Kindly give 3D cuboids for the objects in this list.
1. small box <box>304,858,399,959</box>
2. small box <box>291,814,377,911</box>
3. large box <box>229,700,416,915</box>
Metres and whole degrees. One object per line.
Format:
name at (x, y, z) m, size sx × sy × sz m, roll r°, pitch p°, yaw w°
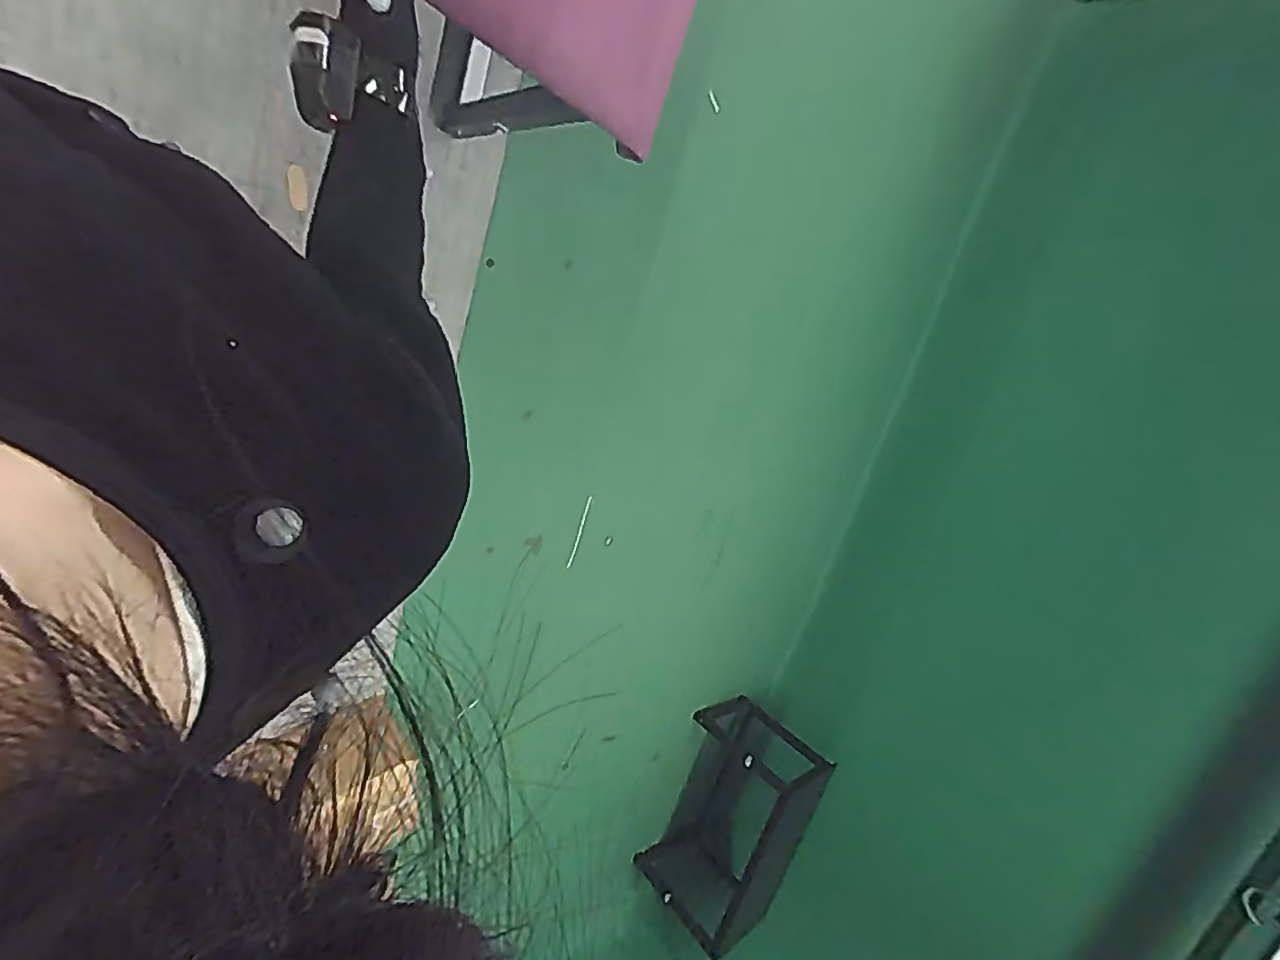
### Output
small box at (-0.705, 1.093, 1.327) m, size 0.179 × 0.176 × 0.168 m, roll -14°, pitch 120°, yaw -40°
small box at (-0.811, 1.032, 1.436) m, size 0.168 × 0.176 × 0.179 m, roll -12°, pitch 119°, yaw -41°
large box at (-0.943, 0.951, 1.630) m, size 0.408 × 0.320 × 0.320 m, roll -14°, pitch 121°, yaw -42°
